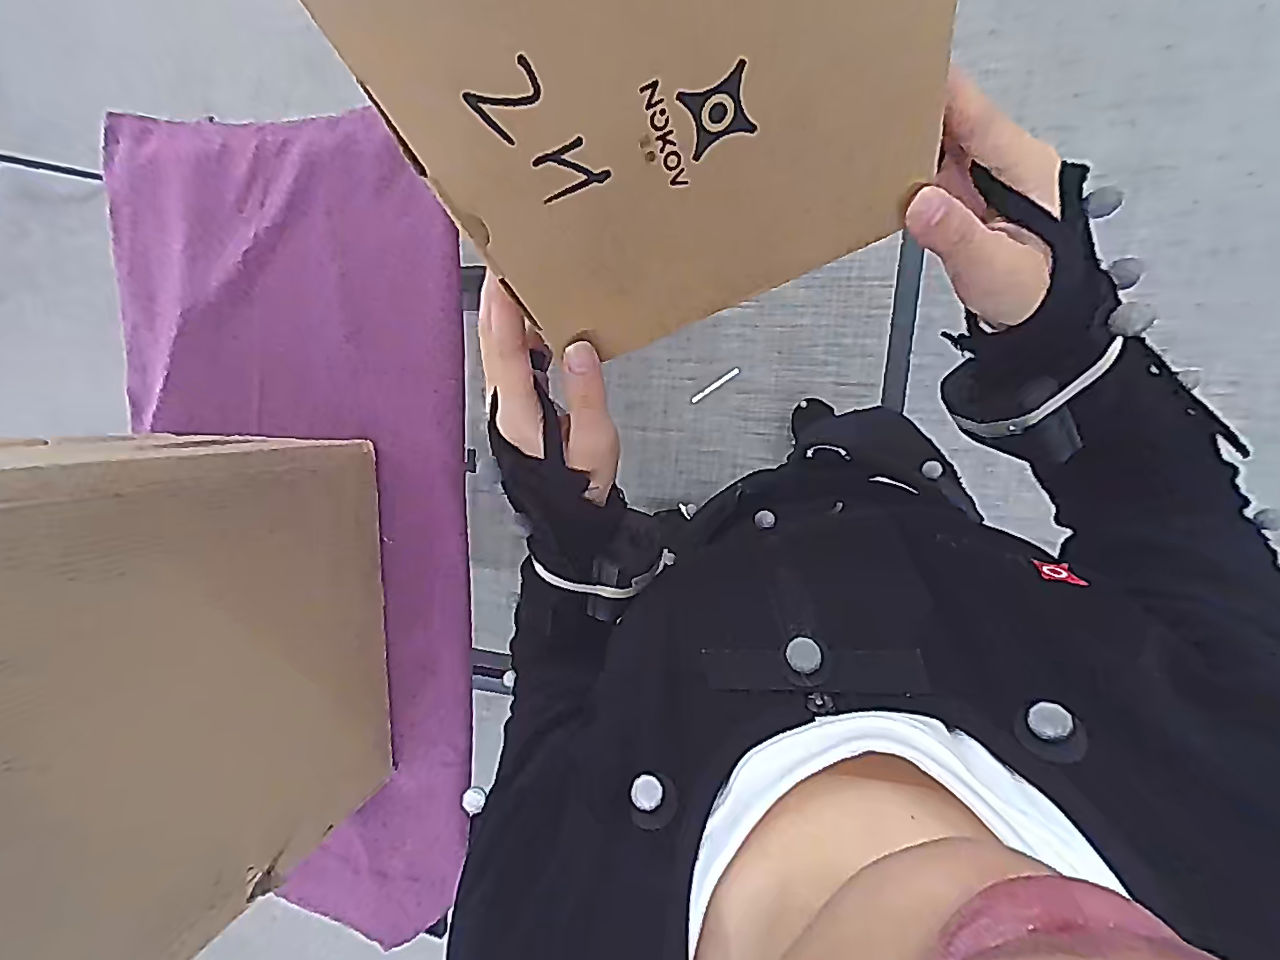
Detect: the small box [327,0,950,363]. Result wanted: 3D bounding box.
[{"bbox_3d":[0.002,-0.190,0.229,0.179,0.168,0.176,-21,56,10],"label":"small box"}]
